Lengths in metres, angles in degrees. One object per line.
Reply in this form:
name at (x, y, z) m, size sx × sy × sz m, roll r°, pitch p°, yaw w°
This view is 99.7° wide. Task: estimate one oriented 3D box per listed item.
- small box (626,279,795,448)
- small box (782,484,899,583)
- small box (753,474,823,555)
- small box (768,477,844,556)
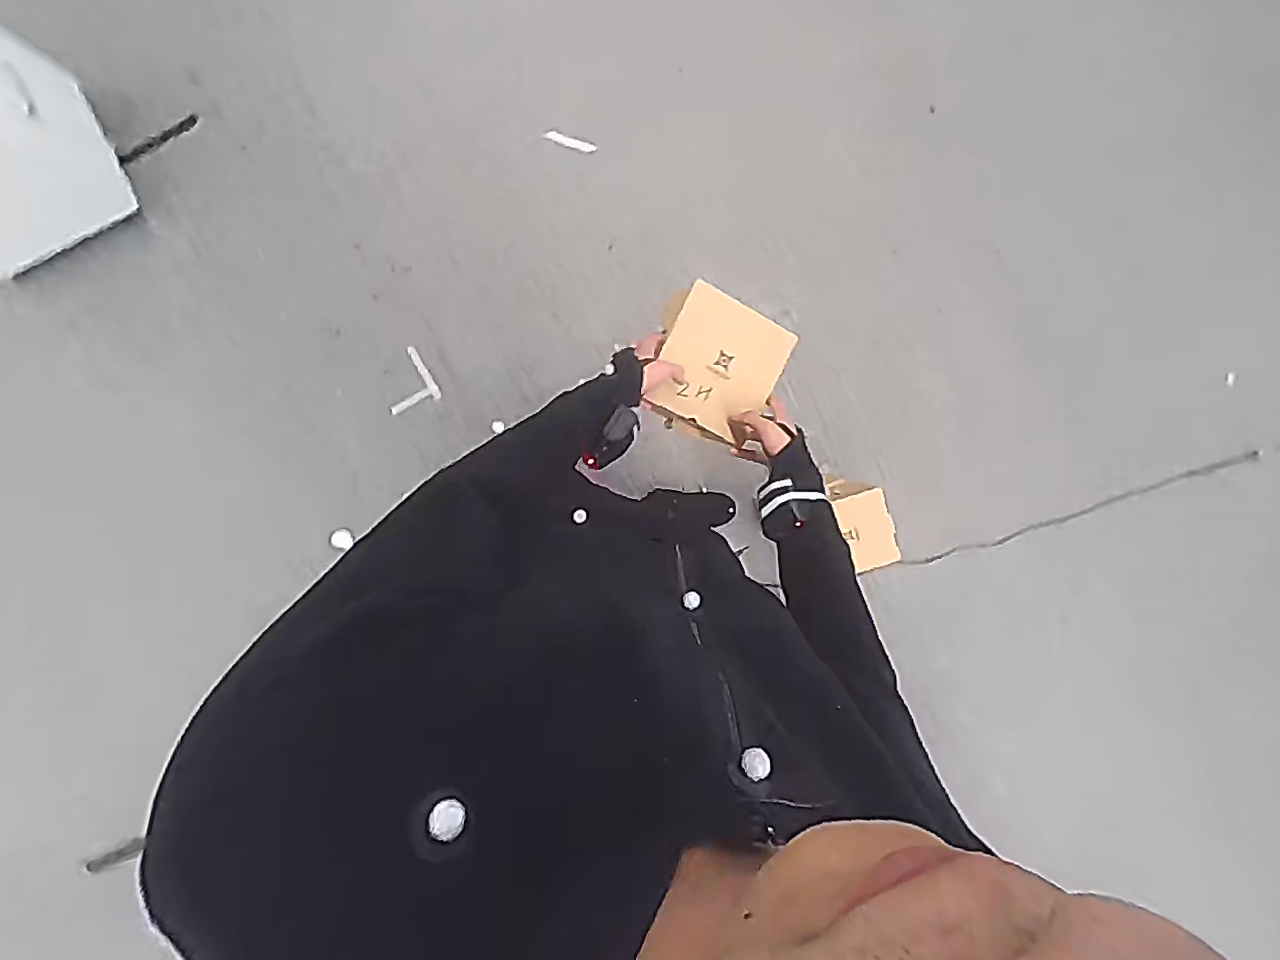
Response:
small box at (0.092, -0.168, 0.811) m, size 0.168 × 0.176 × 0.179 m, roll 26°, pitch 94°, yaw -13°
small box at (0.443, 0.112, 1.220) m, size 0.179 × 0.176 × 0.168 m, roll -17°, pitch 93°, yaw 0°
small box at (0.447, 0.090, 1.546) m, size 0.179 × 0.176 × 0.168 m, roll -26°, pitch 93°, yaw 2°
small box at (0.446, 0.102, 1.384) m, size 0.168 × 0.176 × 0.179 m, roll -24°, pitch 93°, yaw 2°
